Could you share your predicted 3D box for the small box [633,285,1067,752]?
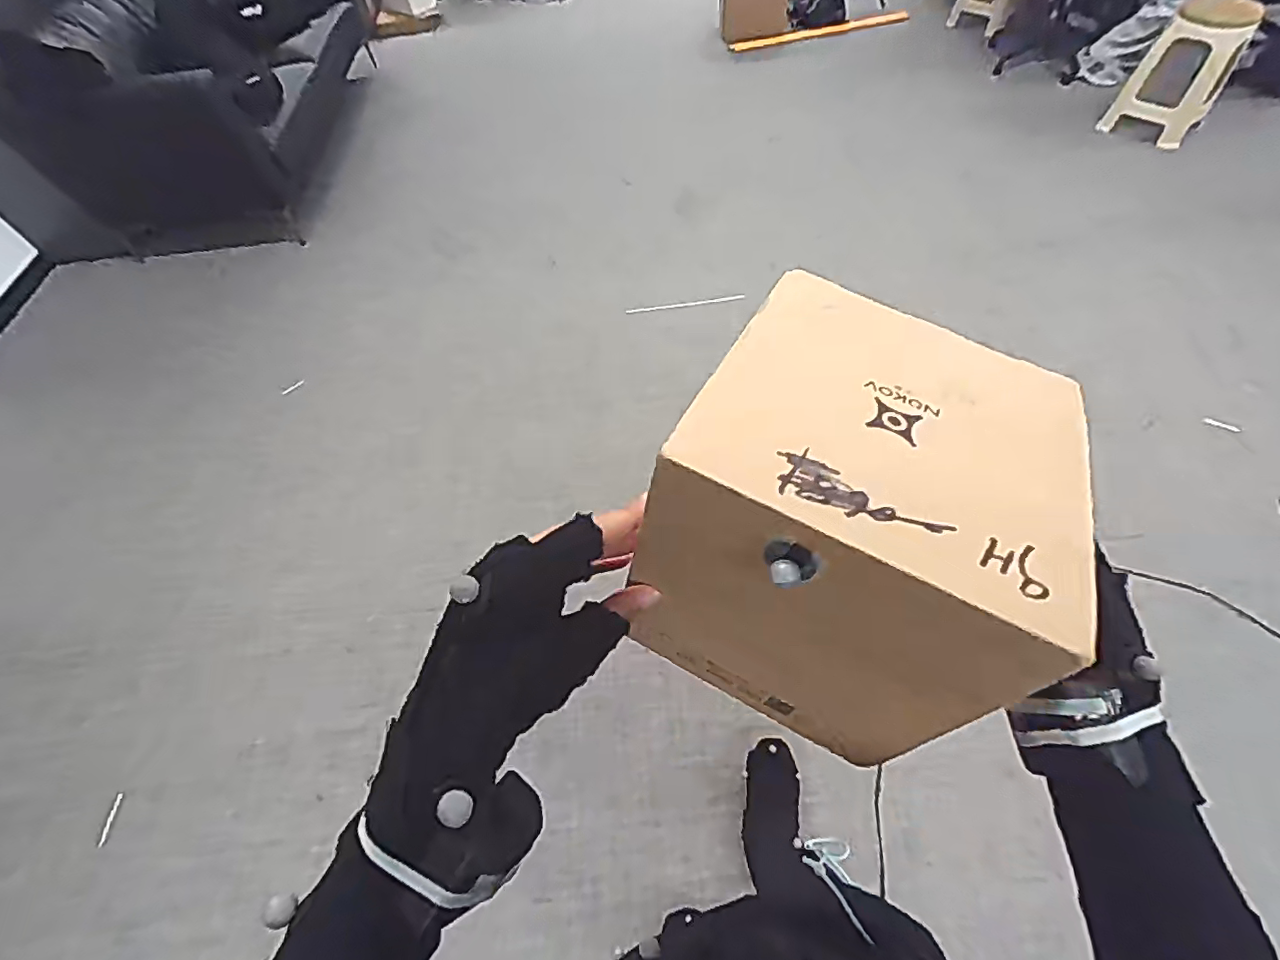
[{"bbox_3d":[0.107,0.022,0.320,0.168,0.176,0.179,27,52,13],"label":"small box"}]
